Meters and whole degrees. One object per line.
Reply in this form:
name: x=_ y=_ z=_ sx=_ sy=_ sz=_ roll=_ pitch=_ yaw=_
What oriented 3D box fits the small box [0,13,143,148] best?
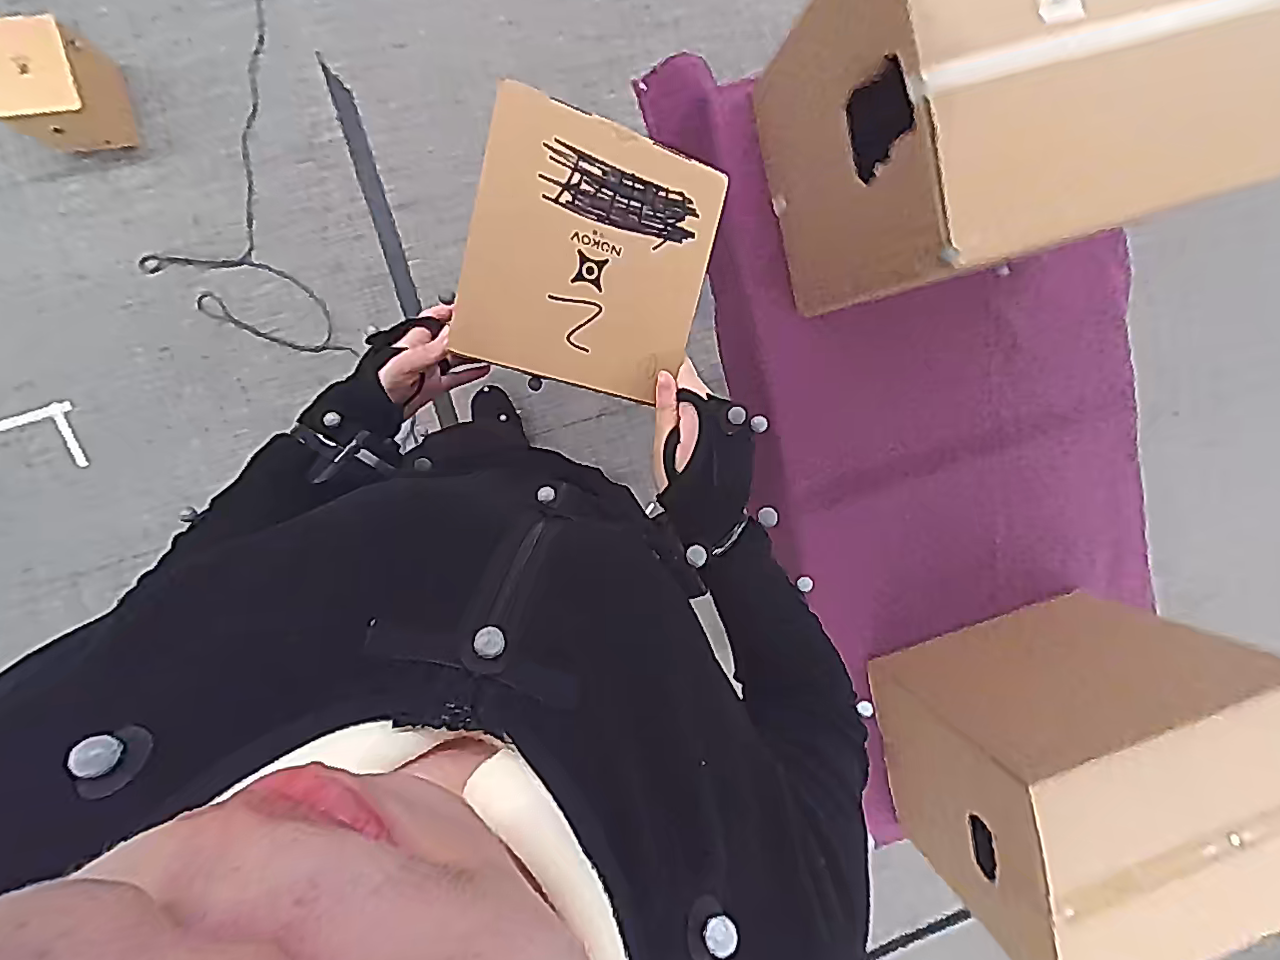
small box: x=-1.215 y=-0.830 z=1.143 sx=0.168 sy=0.176 sz=0.179 roll=-11 pitch=99 yaw=-6
